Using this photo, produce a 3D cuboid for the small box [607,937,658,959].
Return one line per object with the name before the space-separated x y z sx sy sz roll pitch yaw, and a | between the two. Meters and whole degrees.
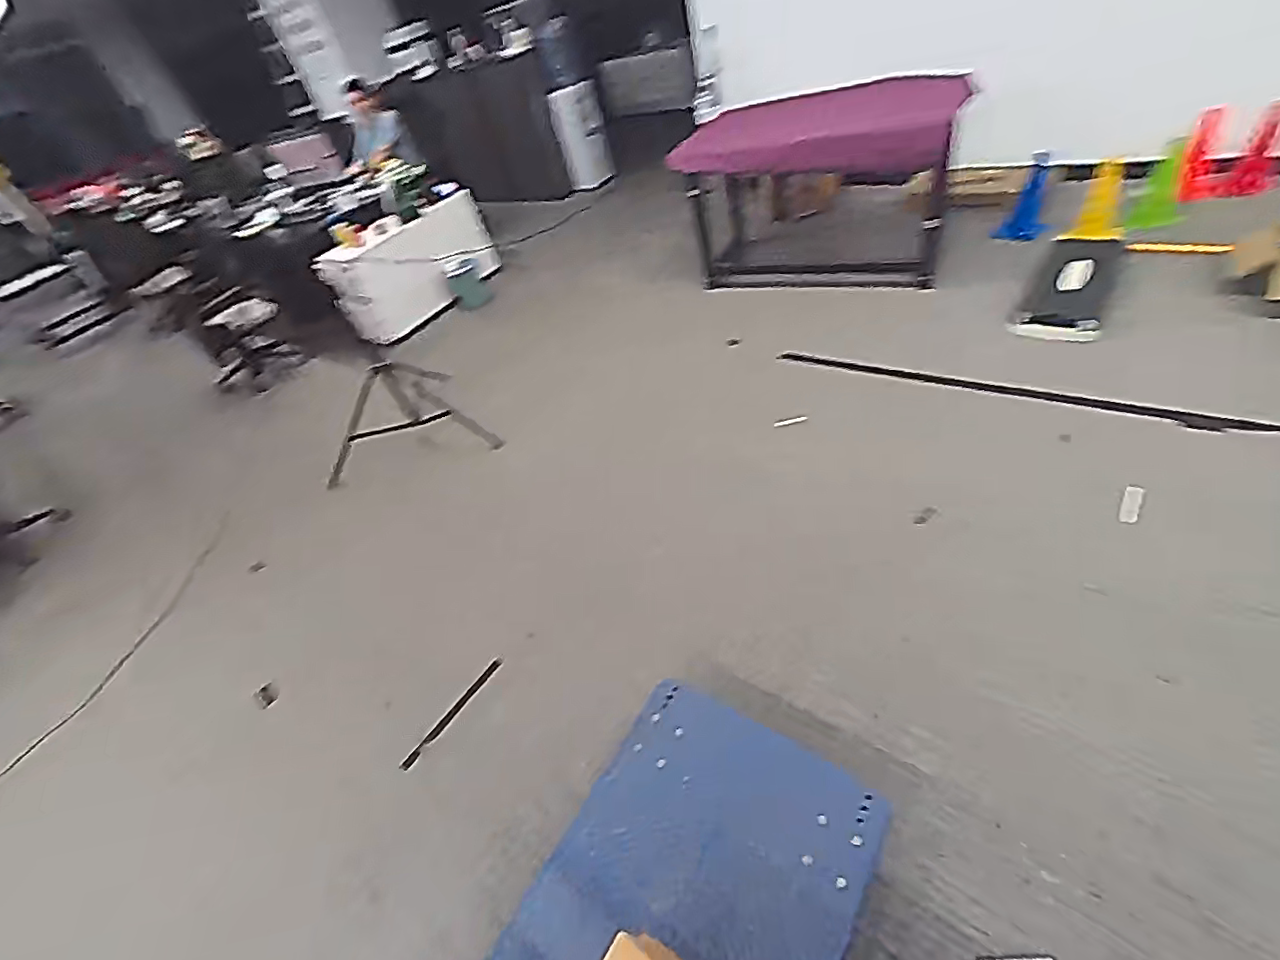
small box | 0.009 0.805 0.764 0.179 0.176 0.168 20 56 33
